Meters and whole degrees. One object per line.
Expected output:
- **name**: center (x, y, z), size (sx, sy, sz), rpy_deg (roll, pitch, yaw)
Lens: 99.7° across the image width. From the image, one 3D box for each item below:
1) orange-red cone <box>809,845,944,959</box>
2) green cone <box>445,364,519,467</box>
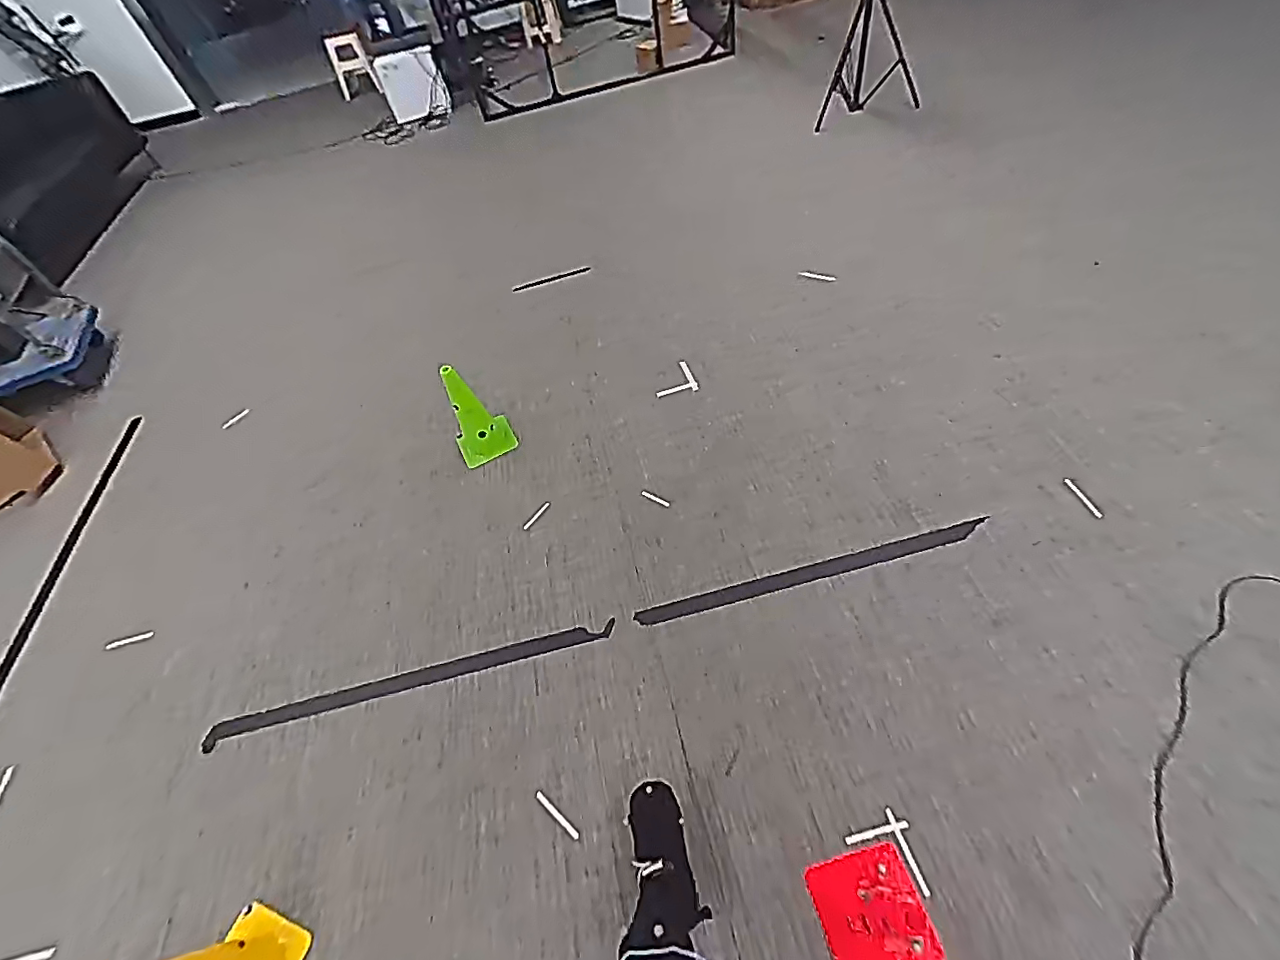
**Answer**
- **orange-red cone**: center (0.422, 0.737, 0.916), size (0.199, 0.360, 0.198), rpy_deg (-17, 50, 0)
- **green cone**: center (-0.595, -0.251, 1.895), size (0.202, 0.368, 0.200), rpy_deg (-27, 53, -11)
